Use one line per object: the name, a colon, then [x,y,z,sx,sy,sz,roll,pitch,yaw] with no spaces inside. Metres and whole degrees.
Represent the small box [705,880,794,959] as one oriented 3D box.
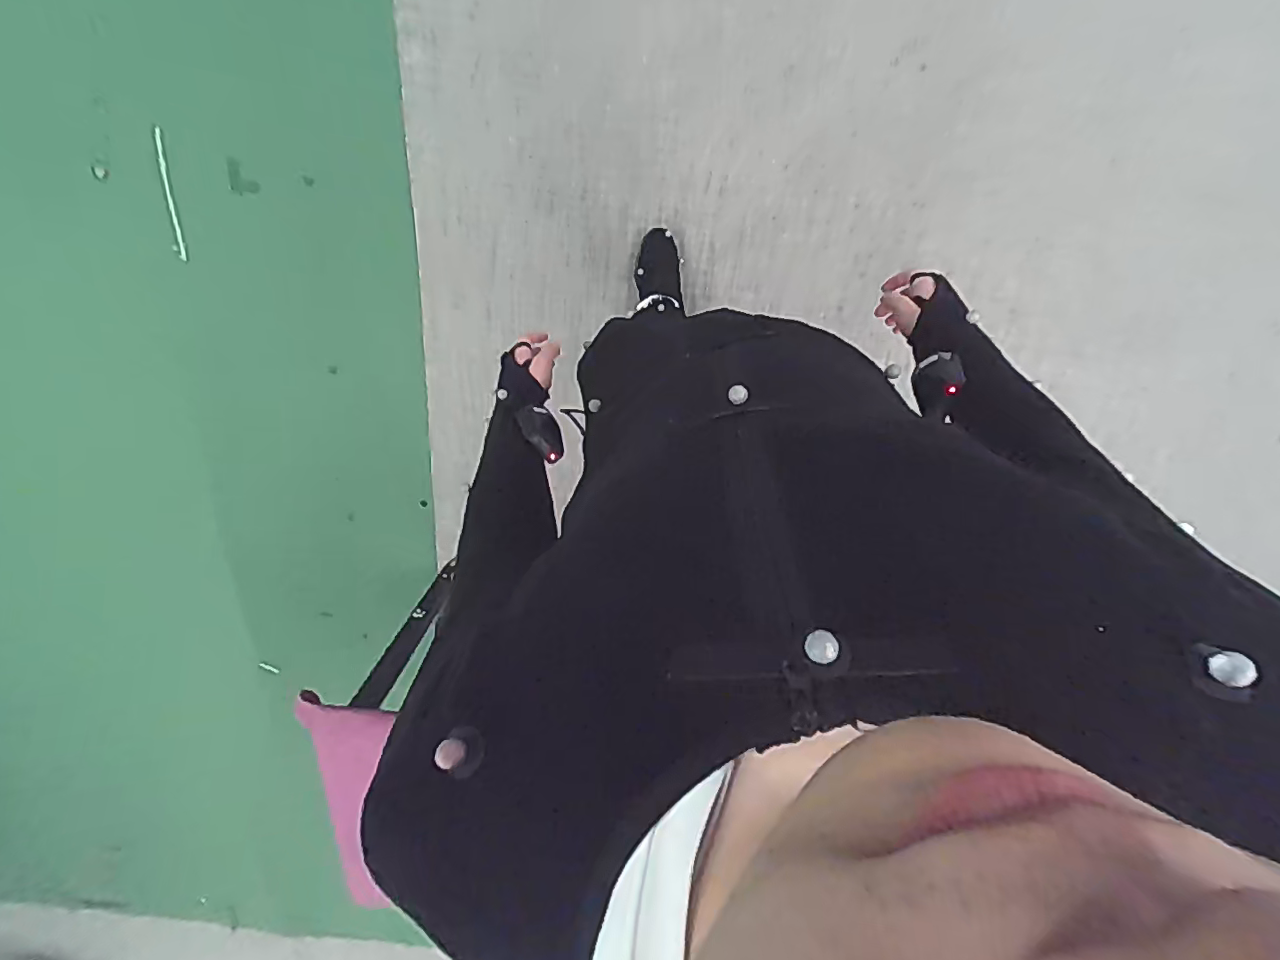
small box: [0.241,1.060,1.241,0.168,0.176,0.179,5,113,2]
